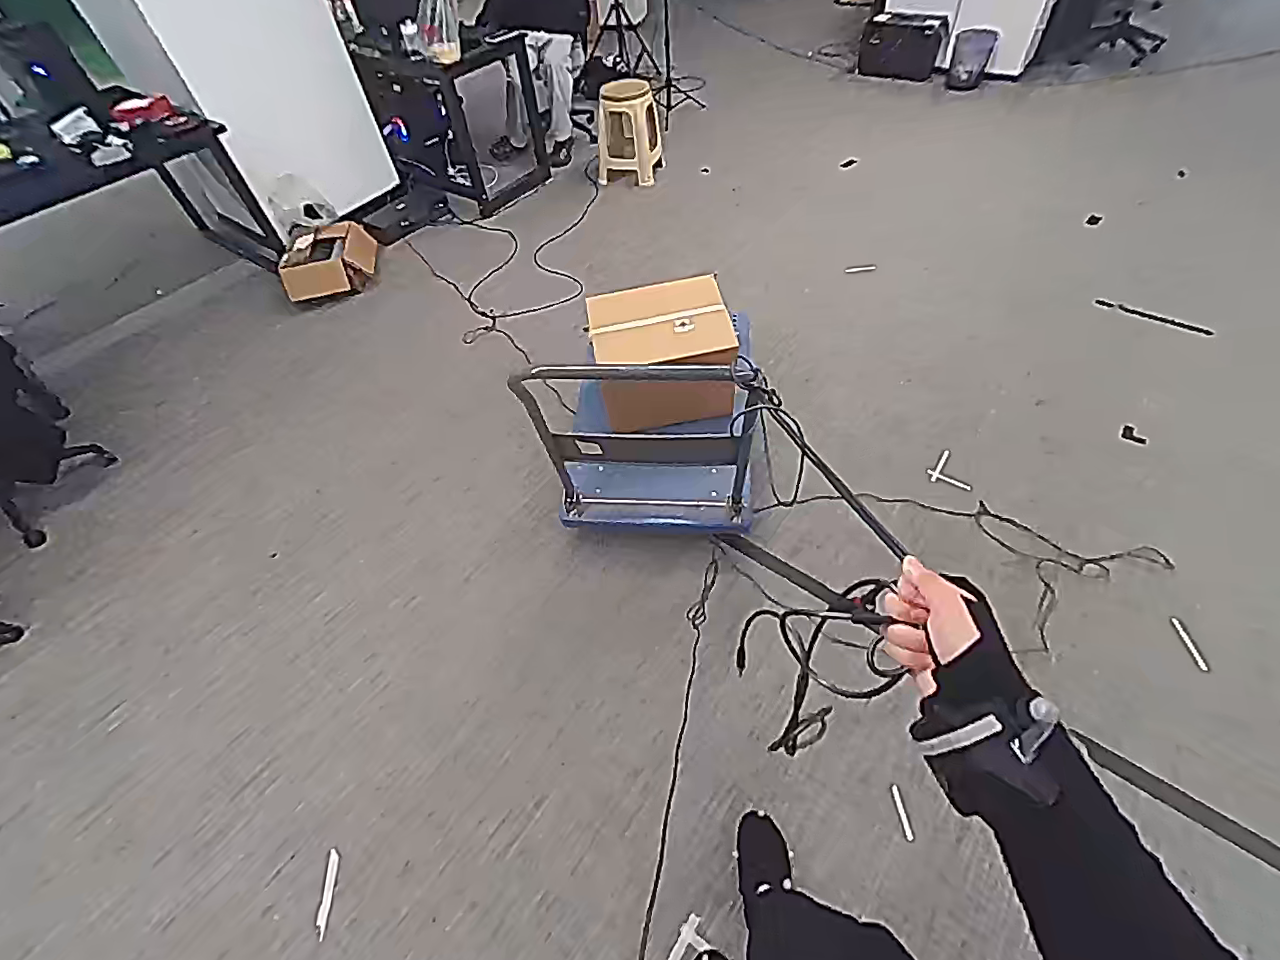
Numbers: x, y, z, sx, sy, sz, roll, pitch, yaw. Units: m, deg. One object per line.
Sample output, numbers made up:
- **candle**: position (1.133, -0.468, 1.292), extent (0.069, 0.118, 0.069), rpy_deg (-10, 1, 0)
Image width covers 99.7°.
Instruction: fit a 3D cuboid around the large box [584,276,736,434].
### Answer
- **large box**: position (0.060, -0.382, 1.695), extent (0.408, 0.320, 0.320), rpy_deg (-11, 60, -1)
